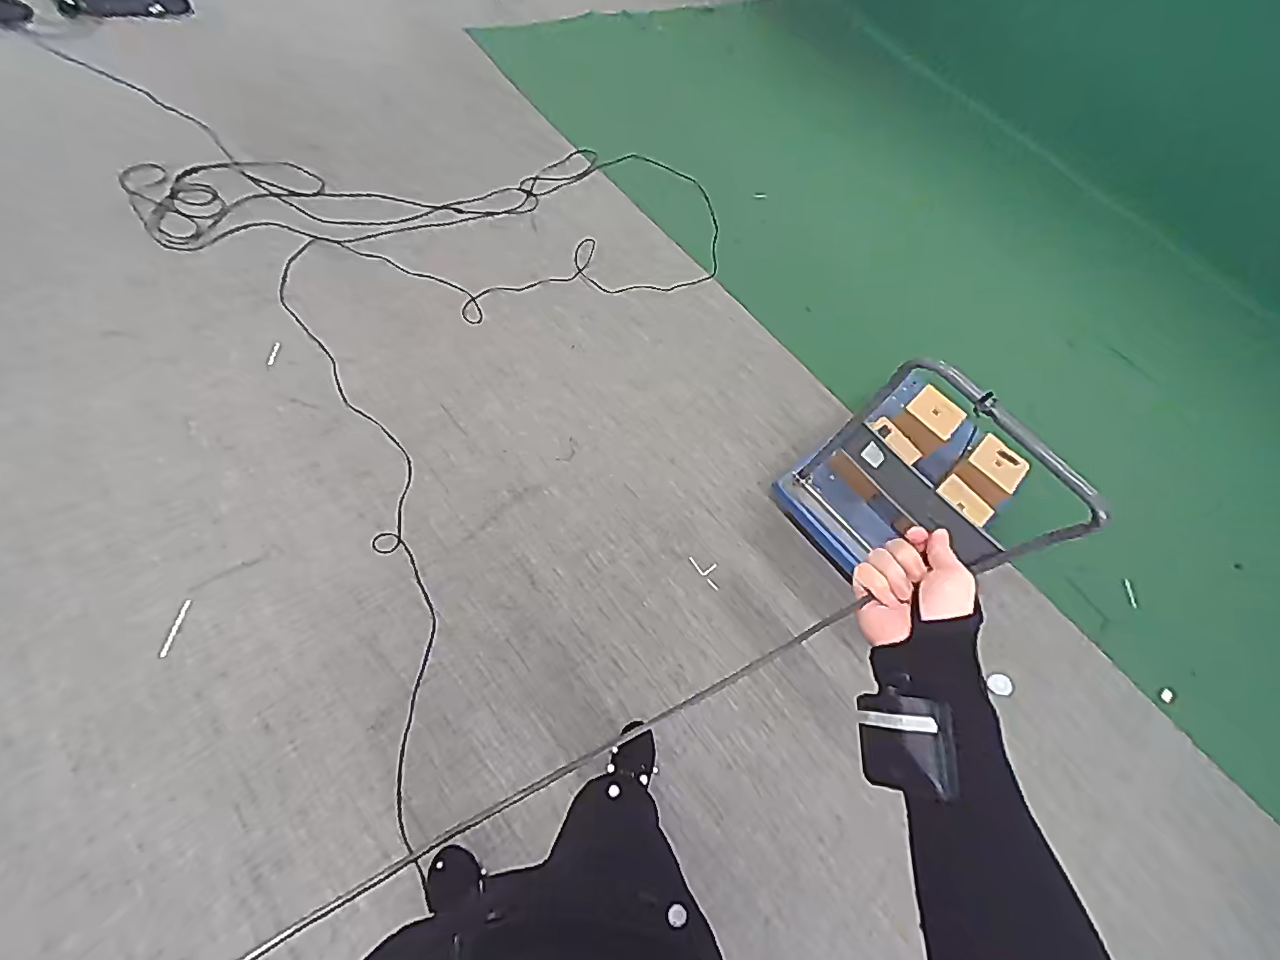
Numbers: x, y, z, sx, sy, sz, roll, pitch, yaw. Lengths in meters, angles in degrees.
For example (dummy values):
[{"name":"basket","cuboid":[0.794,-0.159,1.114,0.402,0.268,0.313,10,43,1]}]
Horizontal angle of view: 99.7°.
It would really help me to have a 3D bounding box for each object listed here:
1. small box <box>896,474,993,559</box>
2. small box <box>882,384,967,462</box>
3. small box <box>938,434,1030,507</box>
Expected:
[{"name":"small box","cuboid":[0.945,0.118,1.695,0.179,0.176,0.168,-33,74,-26]},{"name":"small box","cuboid":[0.972,-0.191,1.869,0.179,0.176,0.168,-38,77,-28]},{"name":"small box","cuboid":[1.146,-0.017,1.815,0.179,0.176,0.168,-38,75,-27]}]
